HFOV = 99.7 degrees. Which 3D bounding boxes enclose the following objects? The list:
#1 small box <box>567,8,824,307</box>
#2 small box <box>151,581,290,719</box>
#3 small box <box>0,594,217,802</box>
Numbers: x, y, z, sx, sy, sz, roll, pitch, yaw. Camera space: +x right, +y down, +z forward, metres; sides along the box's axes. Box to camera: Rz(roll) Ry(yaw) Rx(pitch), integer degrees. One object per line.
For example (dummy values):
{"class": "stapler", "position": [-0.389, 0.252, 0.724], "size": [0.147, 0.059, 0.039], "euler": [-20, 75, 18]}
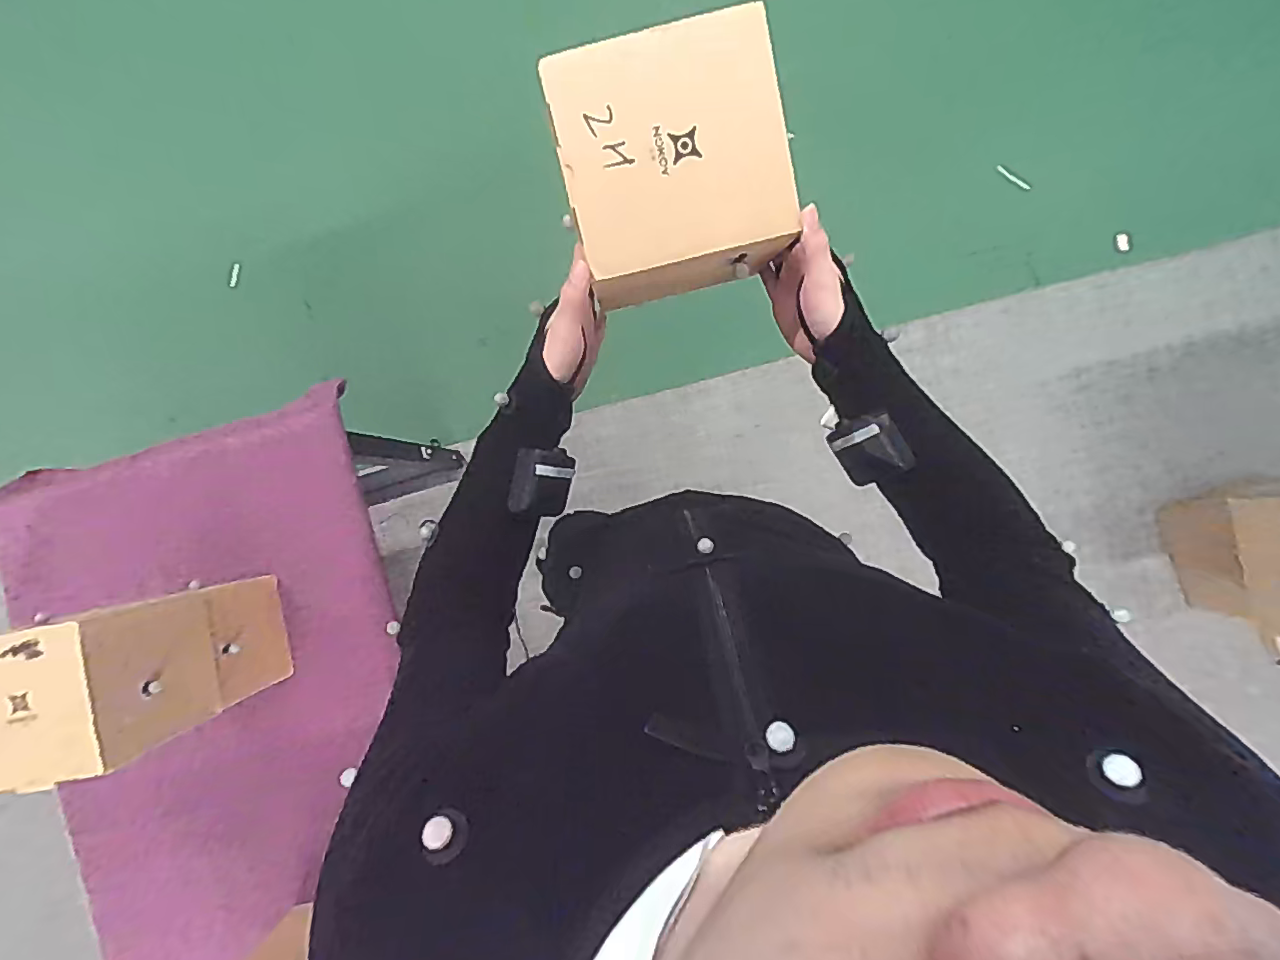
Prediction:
{"class": "small box", "position": [0.043, -0.267, 0.492], "size": [0.179, 0.176, 0.168], "euler": [-13, 99, 1]}
{"class": "small box", "position": [-0.679, 0.259, 0.828], "size": [0.168, 0.176, 0.179], "euler": [-11, 90, 0]}
{"class": "small box", "position": [-0.669, 0.255, 0.664], "size": [0.168, 0.176, 0.179], "euler": [-11, 91, 0]}
